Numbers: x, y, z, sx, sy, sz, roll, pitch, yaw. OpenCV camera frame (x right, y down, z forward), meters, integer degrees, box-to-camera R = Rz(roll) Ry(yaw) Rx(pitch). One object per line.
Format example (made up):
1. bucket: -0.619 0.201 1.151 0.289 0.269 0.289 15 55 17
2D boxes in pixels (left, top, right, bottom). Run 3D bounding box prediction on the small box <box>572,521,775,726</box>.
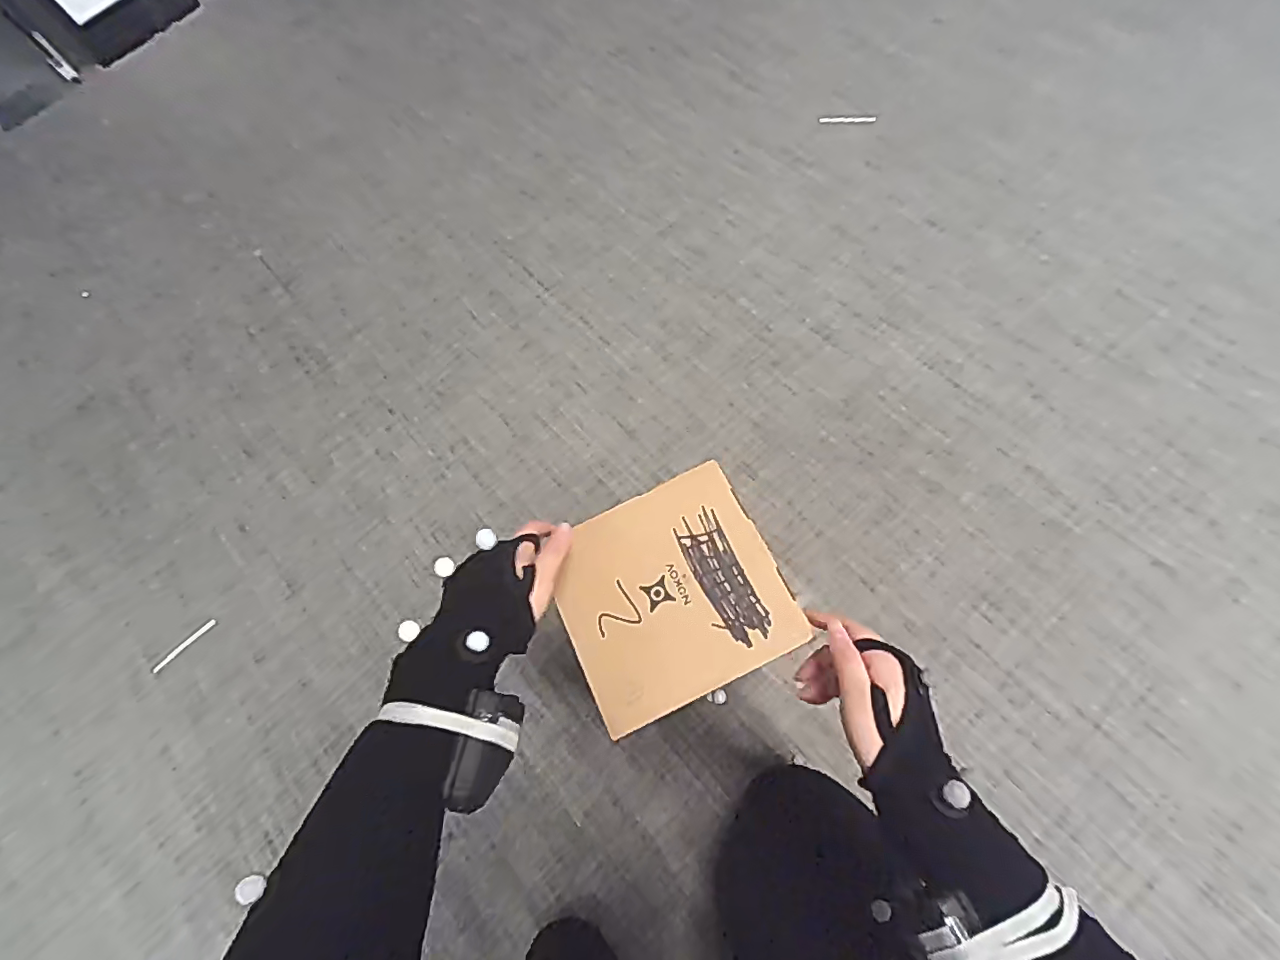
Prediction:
1. small box: 0.042 0.178 0.660 0.179 0.176 0.168 -27 70 -3
